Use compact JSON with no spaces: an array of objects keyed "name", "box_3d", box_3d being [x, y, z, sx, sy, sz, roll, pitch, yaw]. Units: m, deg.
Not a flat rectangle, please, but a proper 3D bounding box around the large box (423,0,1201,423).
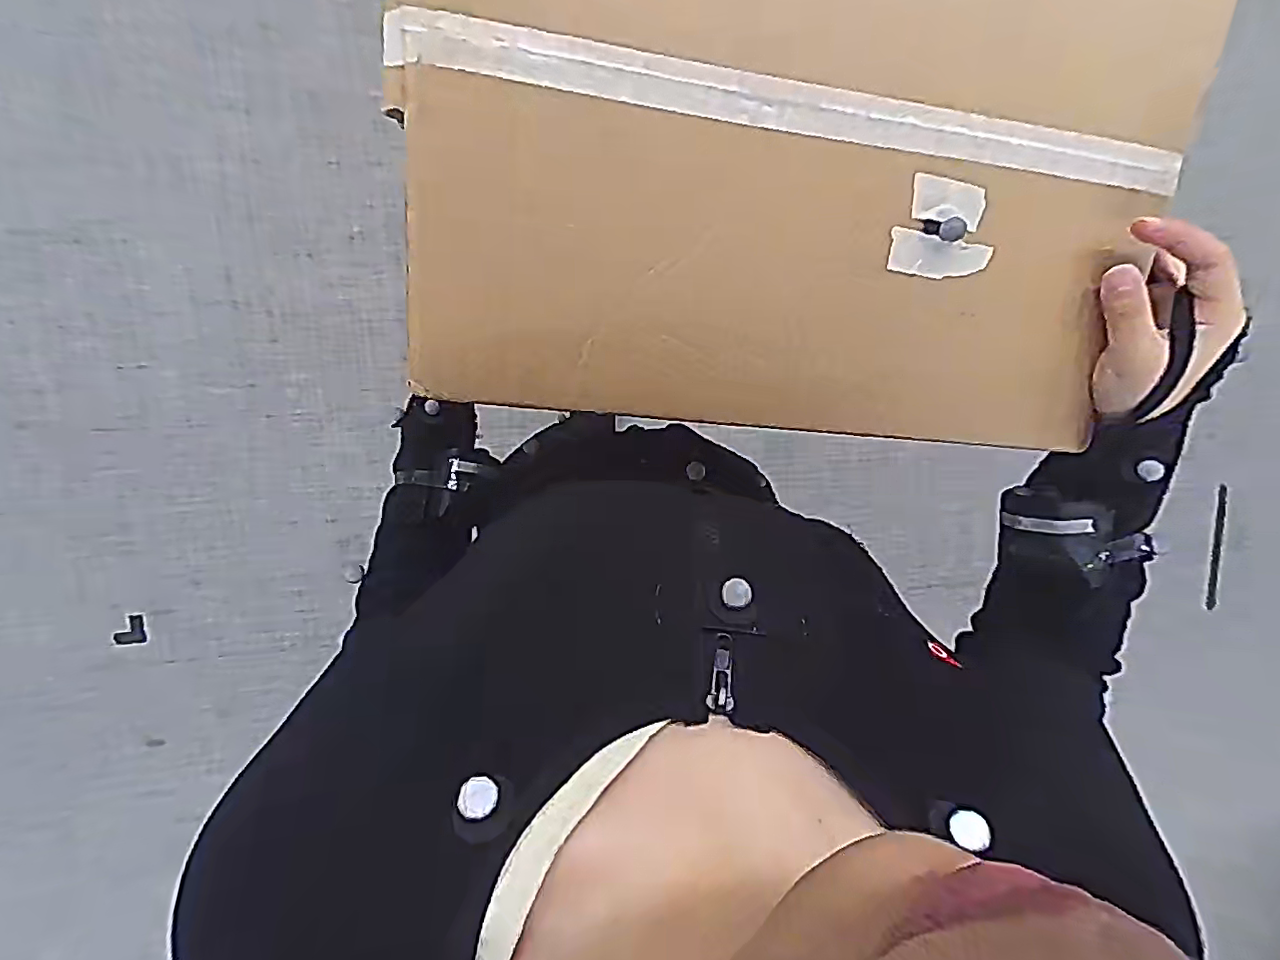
[{"name":"large box","box_3d":[0.071,-0.230,0.416,0.408,0.320,0.320,3,106,-11]}]
